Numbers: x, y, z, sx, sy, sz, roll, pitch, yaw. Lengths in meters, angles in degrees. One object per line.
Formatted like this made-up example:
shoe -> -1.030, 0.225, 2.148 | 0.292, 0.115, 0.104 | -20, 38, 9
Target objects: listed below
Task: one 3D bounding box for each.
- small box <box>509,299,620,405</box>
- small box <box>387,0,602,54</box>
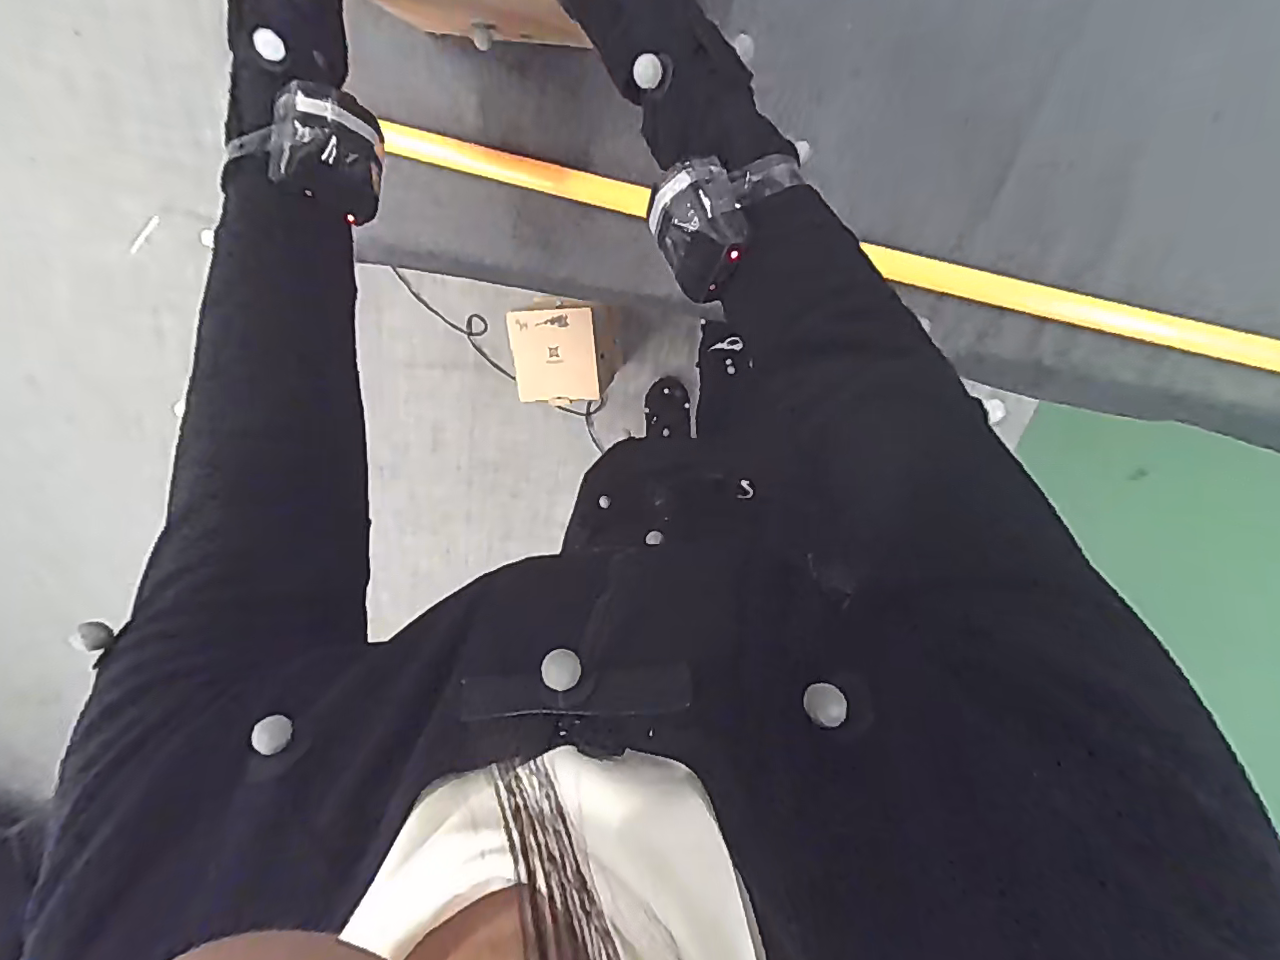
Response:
small box -> -0.143, -0.264, 1.102 | 0.168, 0.176, 0.179 | -2, 113, 12
small box -> -0.118, -0.440, 0.386 | 0.168, 0.176, 0.179 | 9, 118, 5
